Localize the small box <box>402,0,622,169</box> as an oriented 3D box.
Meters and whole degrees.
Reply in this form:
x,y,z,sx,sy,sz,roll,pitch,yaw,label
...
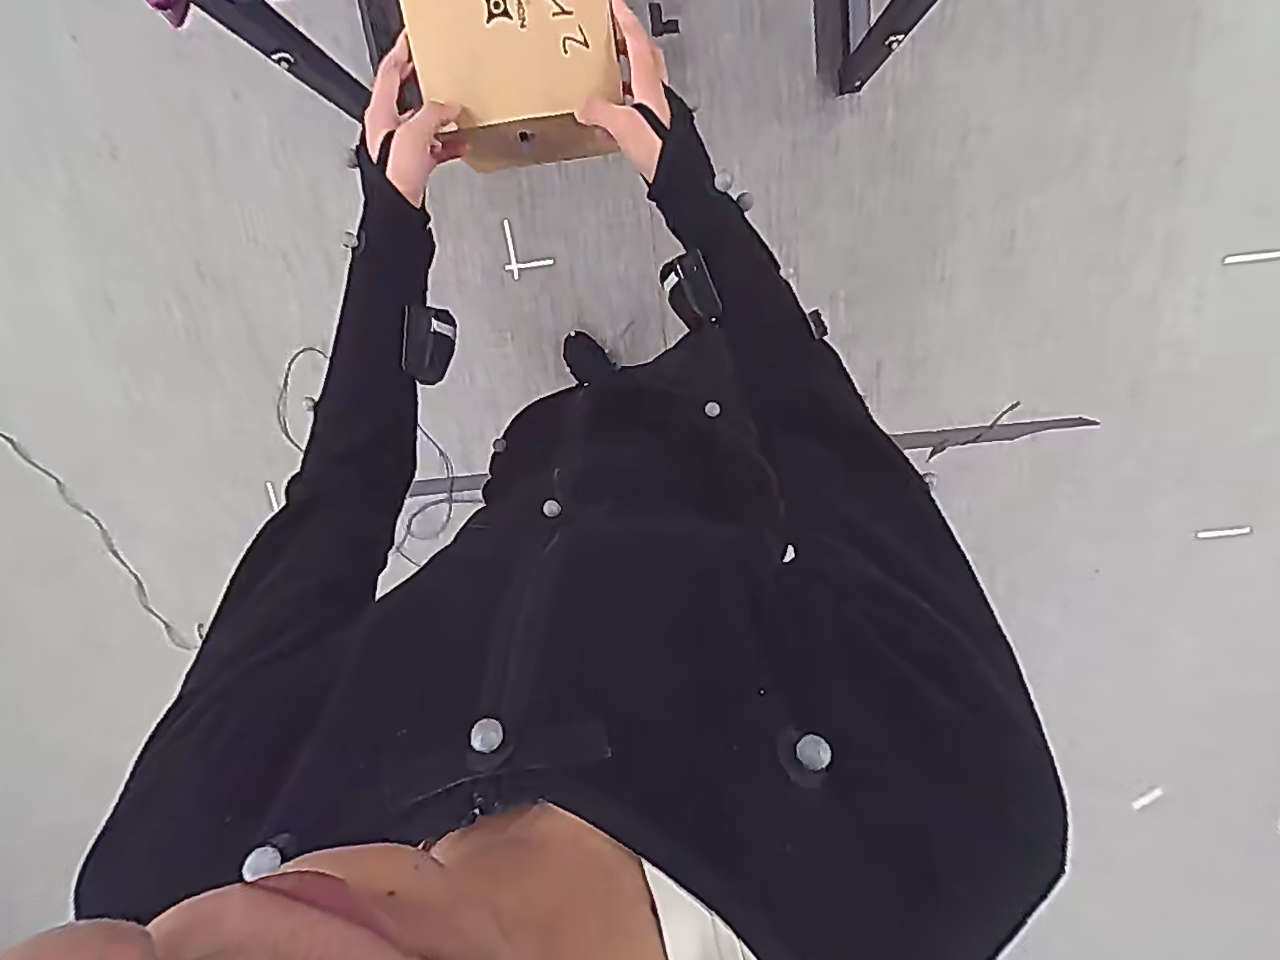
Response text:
x,y,z,sx,sy,sz,roll,pitch,yaw,label
-0.112,-0.417,0.525,0.179,0.176,0.168,-8,110,0,small box
